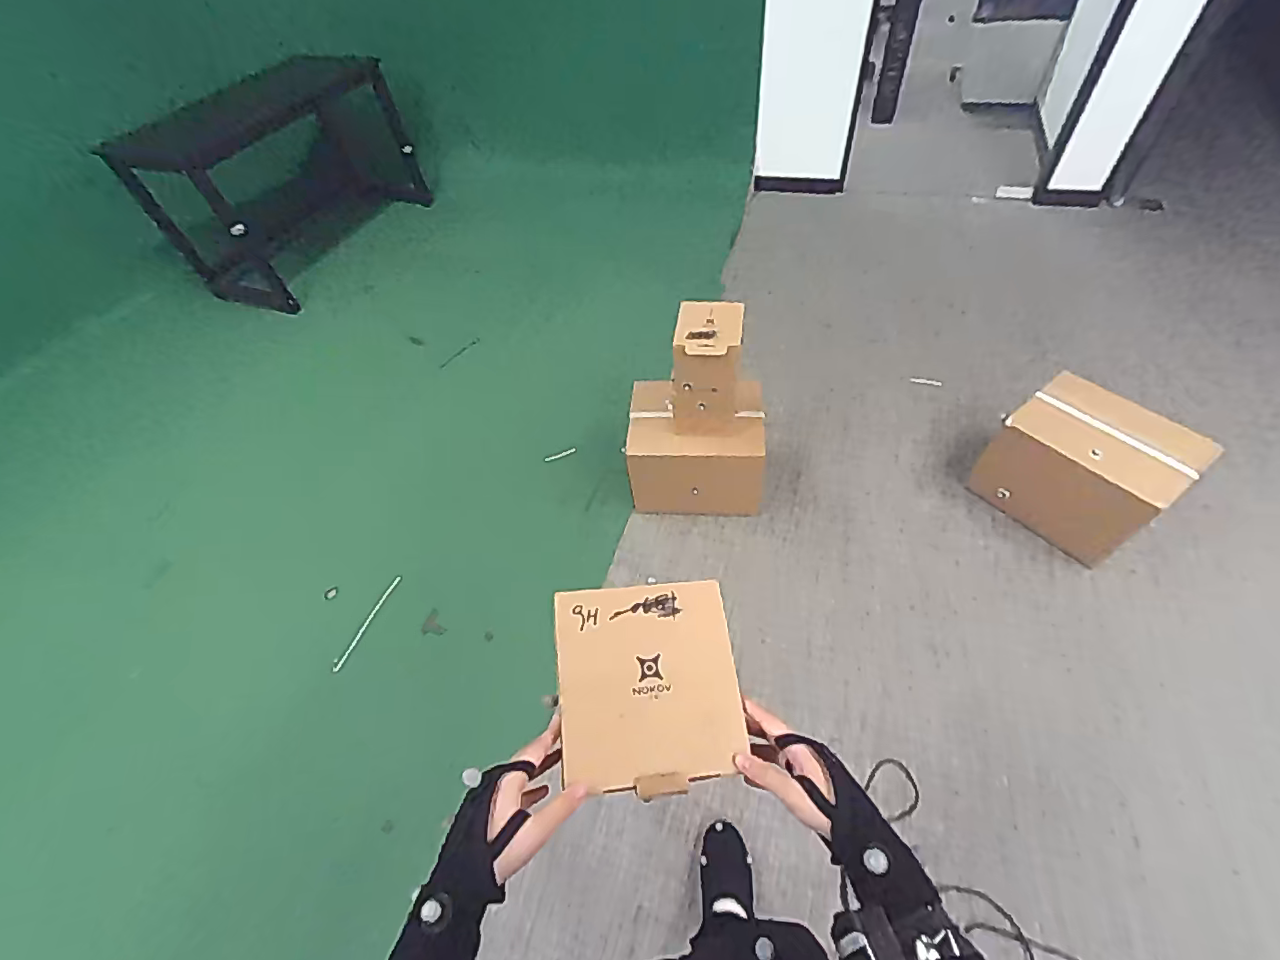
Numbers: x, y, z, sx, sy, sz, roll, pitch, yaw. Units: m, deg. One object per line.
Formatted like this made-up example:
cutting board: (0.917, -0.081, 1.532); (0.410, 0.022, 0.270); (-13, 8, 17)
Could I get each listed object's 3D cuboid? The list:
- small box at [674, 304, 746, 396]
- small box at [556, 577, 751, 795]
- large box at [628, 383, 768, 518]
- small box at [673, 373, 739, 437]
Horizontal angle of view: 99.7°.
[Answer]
small box: (0.187, -0.338, 1.416); (0.168, 0.176, 0.179); (4, 54, 11)
small box: (-0.001, 0.211, 0.564); (0.168, 0.176, 0.179); (-2, 65, -10)
large box: (0.192, -0.087, 1.741); (0.408, 0.320, 0.320); (-1, 51, 9)
small box: (0.194, -0.237, 1.544); (0.179, 0.176, 0.168); (3, 54, 9)
